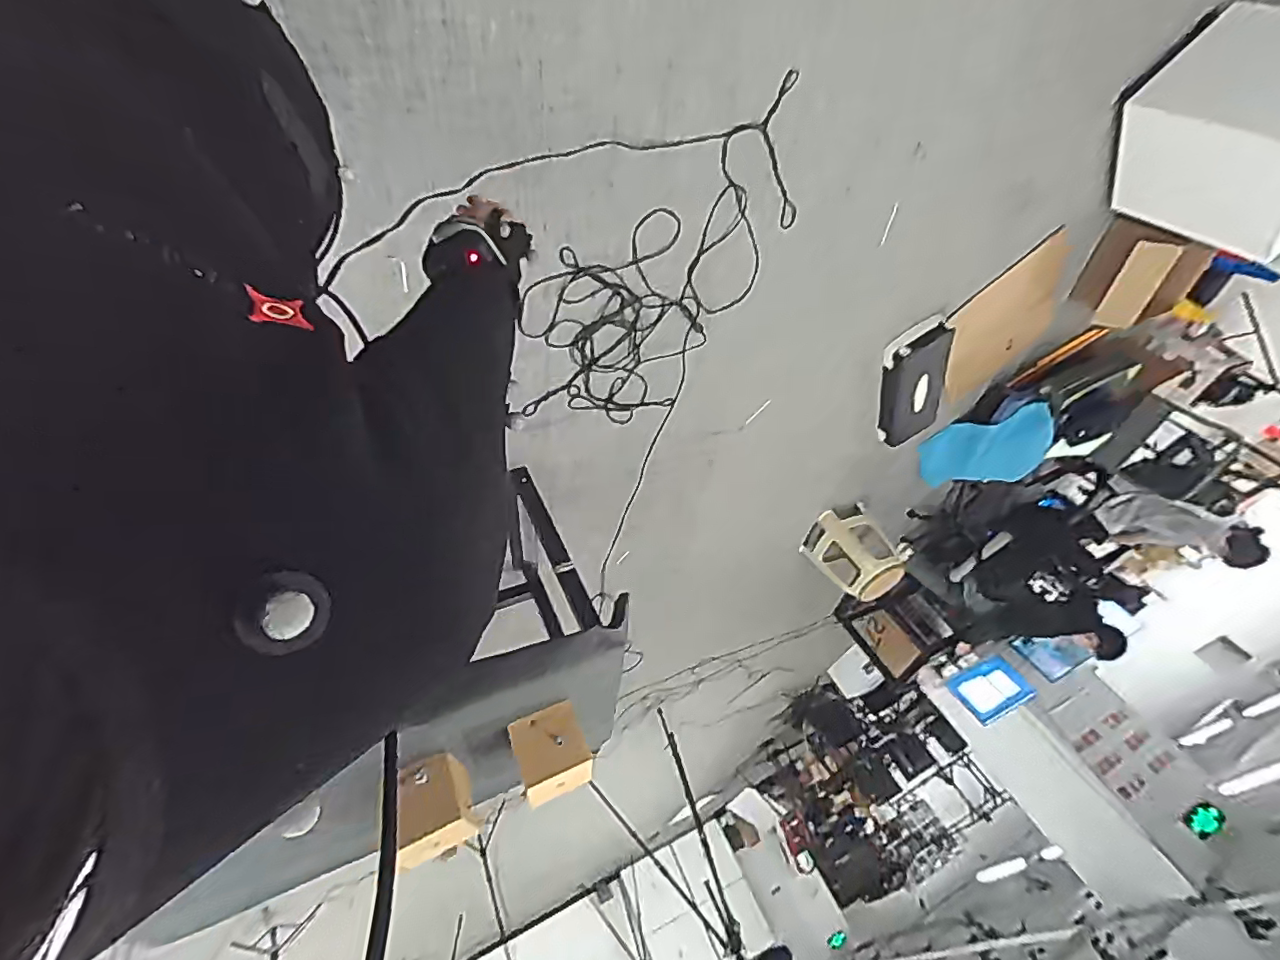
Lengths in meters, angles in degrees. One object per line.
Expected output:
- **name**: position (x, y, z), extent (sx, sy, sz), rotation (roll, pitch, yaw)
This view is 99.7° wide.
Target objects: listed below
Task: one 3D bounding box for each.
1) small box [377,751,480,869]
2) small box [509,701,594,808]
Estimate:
- **small box**: position (-0.495, 0.770, 1.270), extent (0.168, 0.176, 0.179), rotation (-22, 141, -18)
- **small box**: position (-0.228, 0.695, 1.384), extent (0.168, 0.176, 0.179), rotation (-17, 141, -21)
